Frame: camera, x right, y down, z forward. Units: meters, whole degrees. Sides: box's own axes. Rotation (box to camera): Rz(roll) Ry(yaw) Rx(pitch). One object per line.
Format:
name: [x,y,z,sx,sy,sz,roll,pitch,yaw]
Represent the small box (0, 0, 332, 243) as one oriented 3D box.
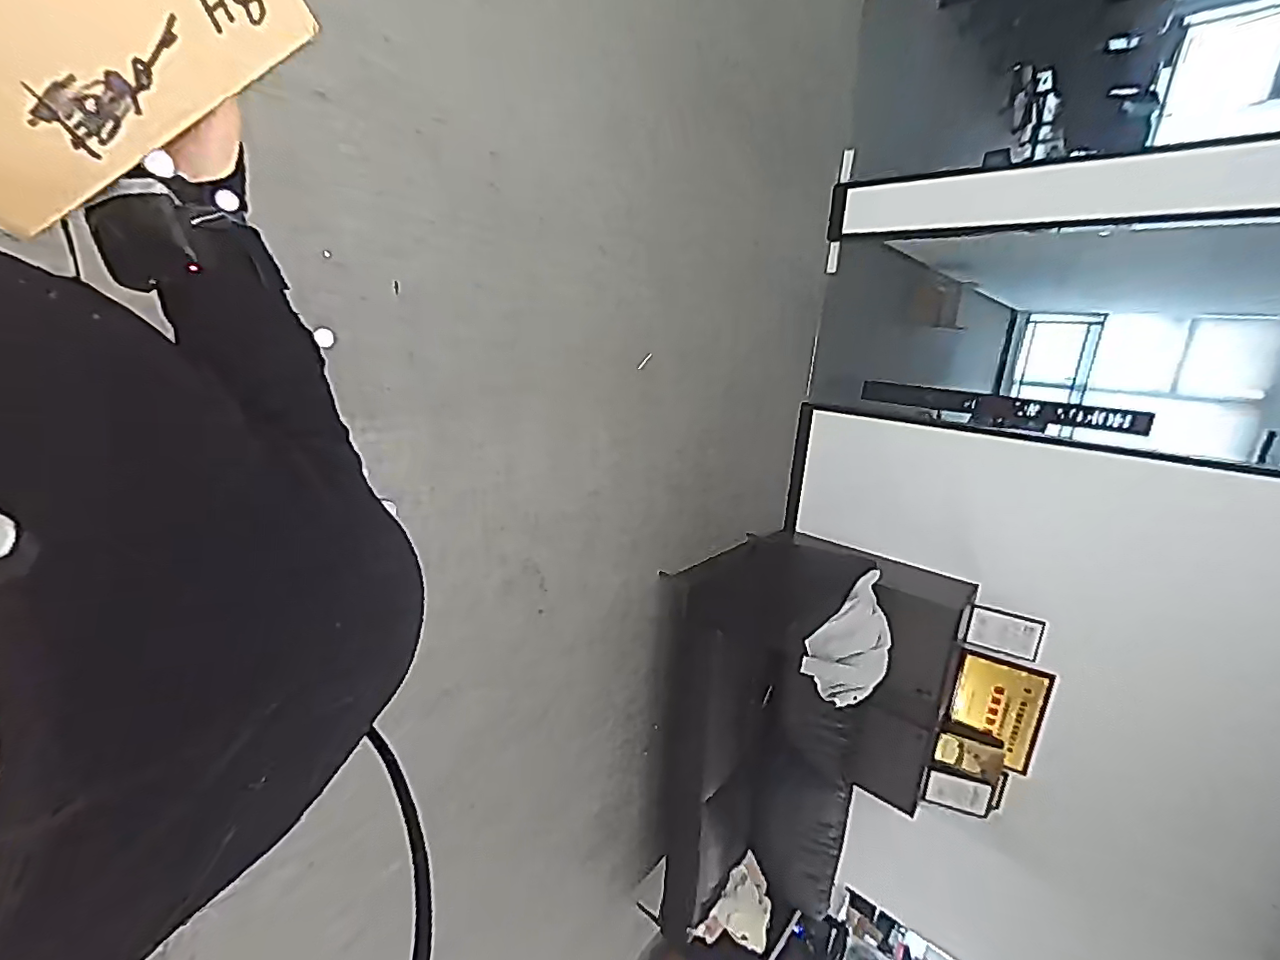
small box: [-0.287,-0.245,0.229,0.168,0.176,0.179,-45,149,-9]
